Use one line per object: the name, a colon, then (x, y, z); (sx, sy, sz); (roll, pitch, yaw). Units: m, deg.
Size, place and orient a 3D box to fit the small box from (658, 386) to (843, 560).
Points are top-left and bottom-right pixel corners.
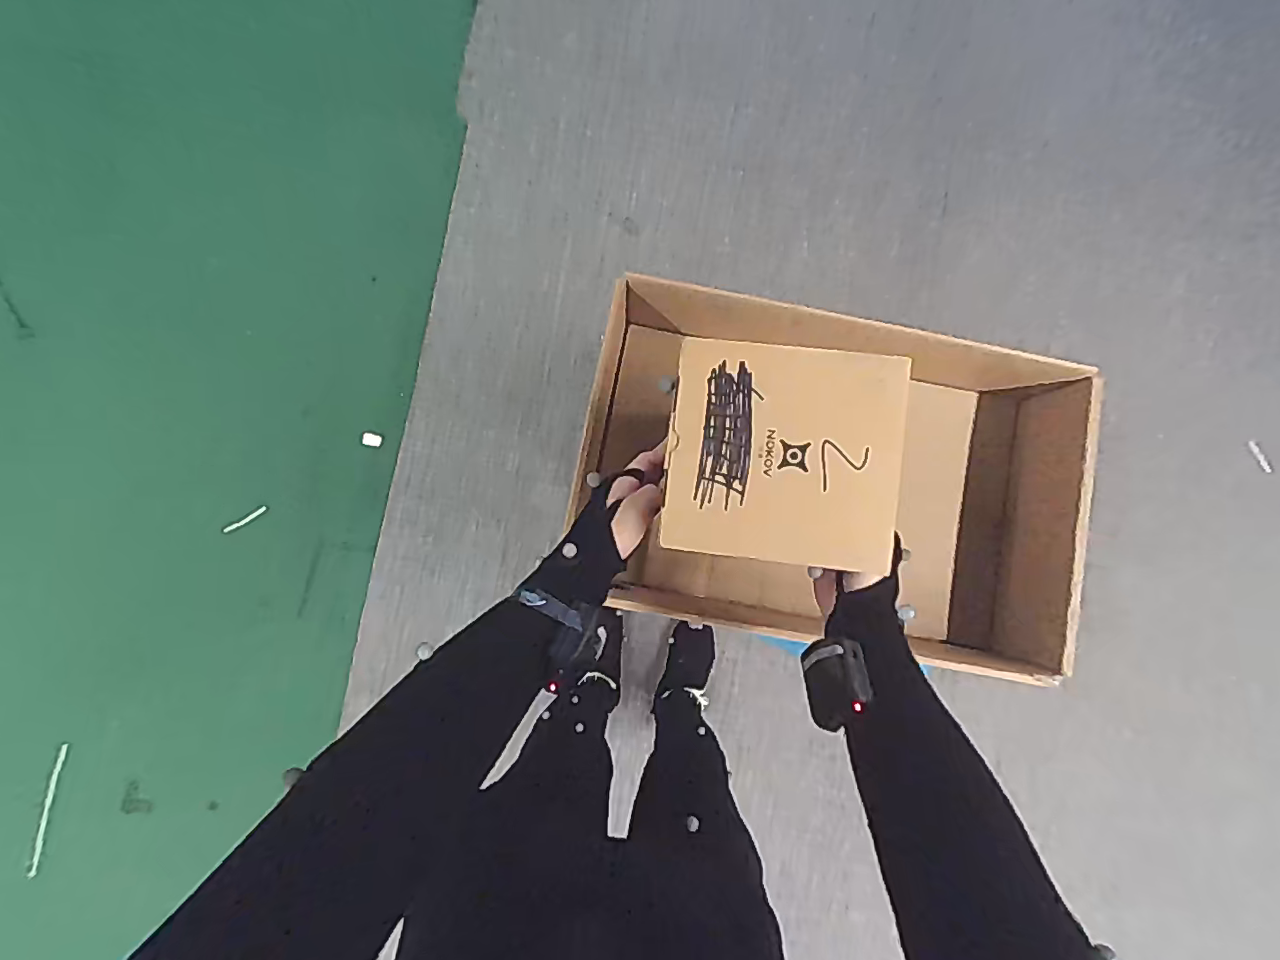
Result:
small box: (0.124, -0.007, 0.654); (0.179, 0.176, 0.168); (8, 88, 7)
